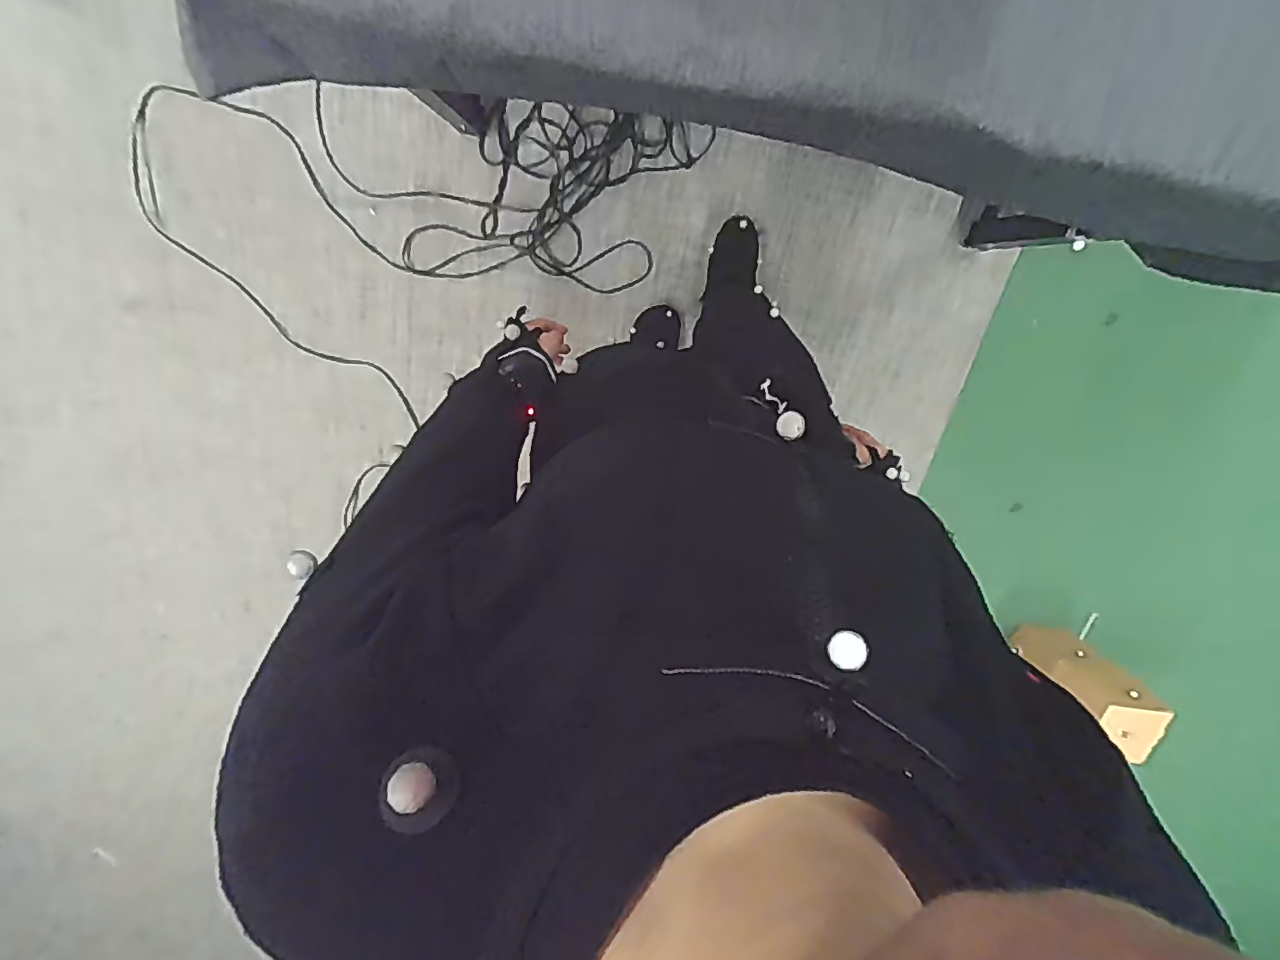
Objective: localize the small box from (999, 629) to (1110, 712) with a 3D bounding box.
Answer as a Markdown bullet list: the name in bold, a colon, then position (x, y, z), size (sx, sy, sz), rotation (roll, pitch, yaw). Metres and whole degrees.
- **small box**: position (1.182, 0.545, 1.539), size (0.179, 0.176, 0.168), rotation (9, 109, -4)

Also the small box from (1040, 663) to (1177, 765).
- **small box**: position (1.183, 0.592, 1.383), size (0.179, 0.176, 0.168), rotation (8, 109, -5)
